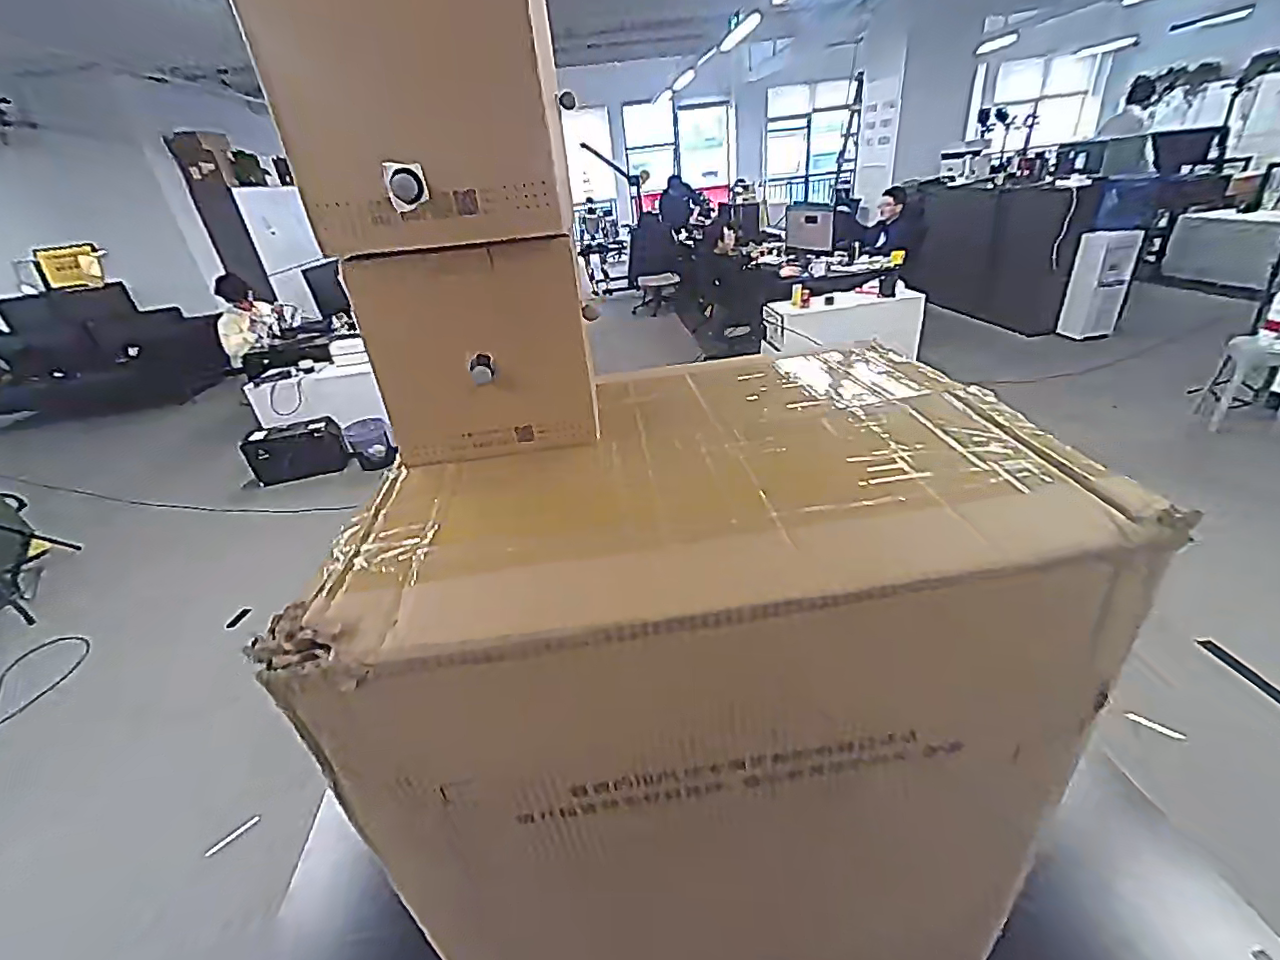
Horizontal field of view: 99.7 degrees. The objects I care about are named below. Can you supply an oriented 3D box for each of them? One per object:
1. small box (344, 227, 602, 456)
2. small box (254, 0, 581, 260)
[{"bbox_3d":[-0.127,-0.128,0.489,0.168,0.176,0.179,-7,29,-3],"label":"small box"},{"bbox_3d":[-0.138,-0.264,0.396,0.168,0.176,0.179,-8,29,-1],"label":"small box"}]
